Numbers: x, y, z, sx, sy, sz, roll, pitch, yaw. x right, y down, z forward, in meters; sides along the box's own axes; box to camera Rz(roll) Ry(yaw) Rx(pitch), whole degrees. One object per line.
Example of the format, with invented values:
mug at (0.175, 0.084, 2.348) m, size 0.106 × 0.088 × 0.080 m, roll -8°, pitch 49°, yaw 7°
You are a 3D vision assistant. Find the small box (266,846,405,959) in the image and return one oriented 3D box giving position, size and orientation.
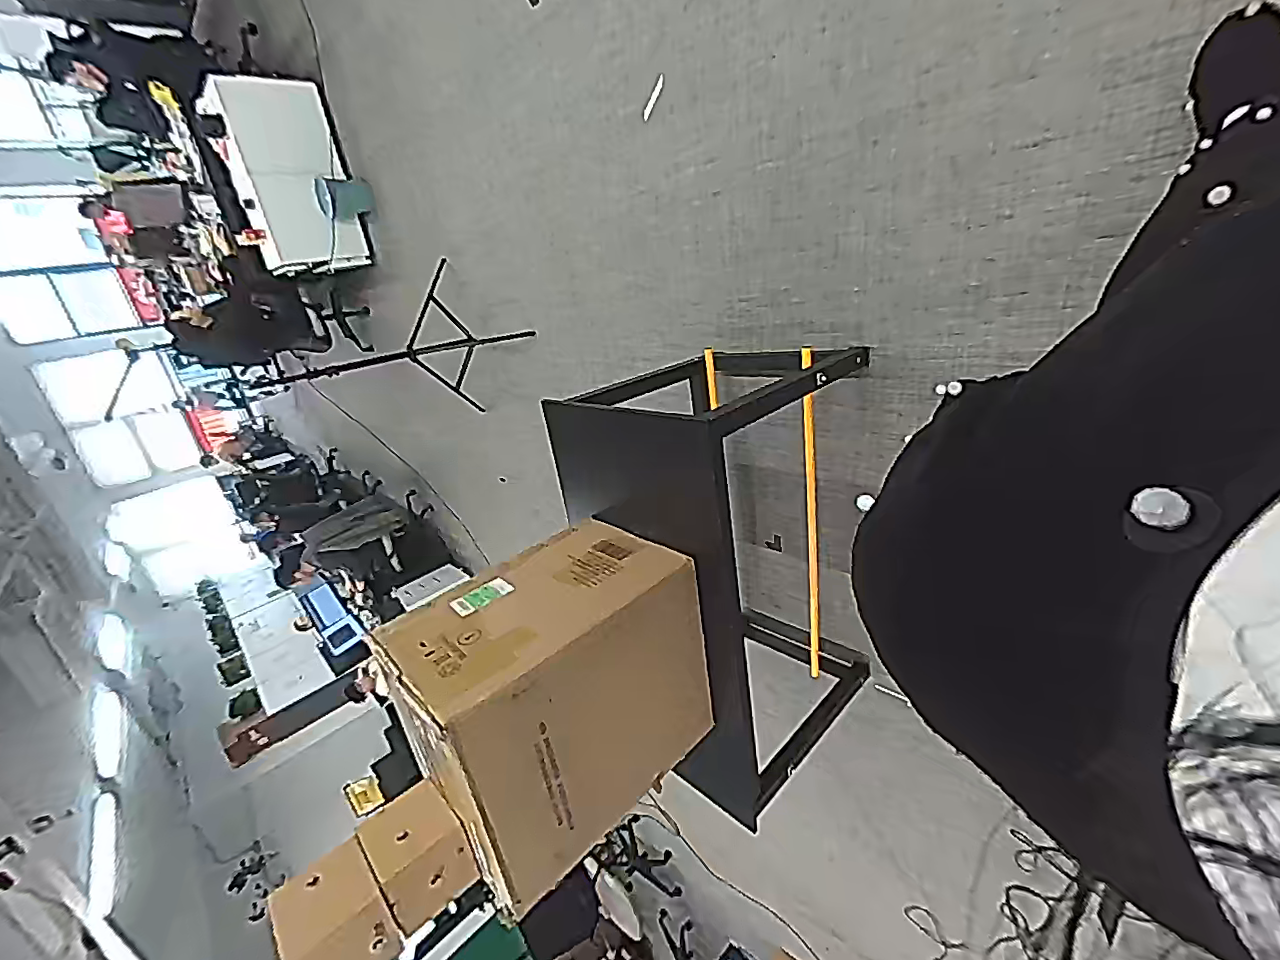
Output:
small box at (-0.574, 0.846, 1.027) m, size 0.179 × 0.176 × 0.168 m, roll 12°, pitch 120°, yaw 47°

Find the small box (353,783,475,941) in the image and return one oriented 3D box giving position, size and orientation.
small box at (-0.464, 0.785, 1.133) m, size 0.179 × 0.176 × 0.168 m, roll 13°, pitch 120°, yaw 46°
